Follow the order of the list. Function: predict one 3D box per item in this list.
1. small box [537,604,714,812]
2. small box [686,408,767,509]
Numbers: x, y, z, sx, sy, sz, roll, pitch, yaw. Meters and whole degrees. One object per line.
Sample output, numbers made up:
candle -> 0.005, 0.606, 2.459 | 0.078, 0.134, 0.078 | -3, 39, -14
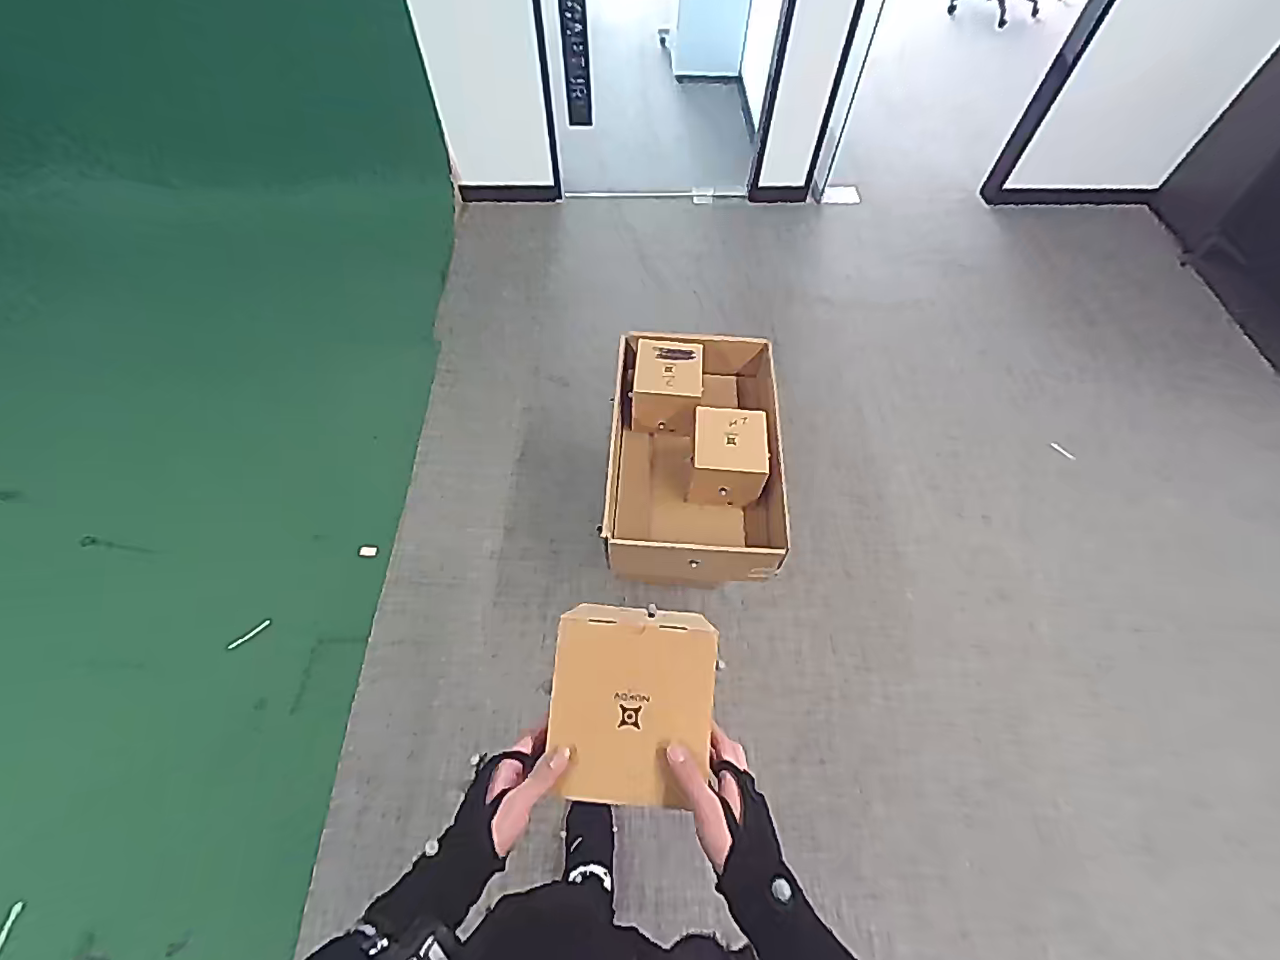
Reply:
small box -> -0.010, 0.242, 0.616 | 0.168, 0.176, 0.179 | 5, 80, 2
small box -> 0.201, -0.046, 1.281 | 0.168, 0.176, 0.179 | 6, 60, 0
